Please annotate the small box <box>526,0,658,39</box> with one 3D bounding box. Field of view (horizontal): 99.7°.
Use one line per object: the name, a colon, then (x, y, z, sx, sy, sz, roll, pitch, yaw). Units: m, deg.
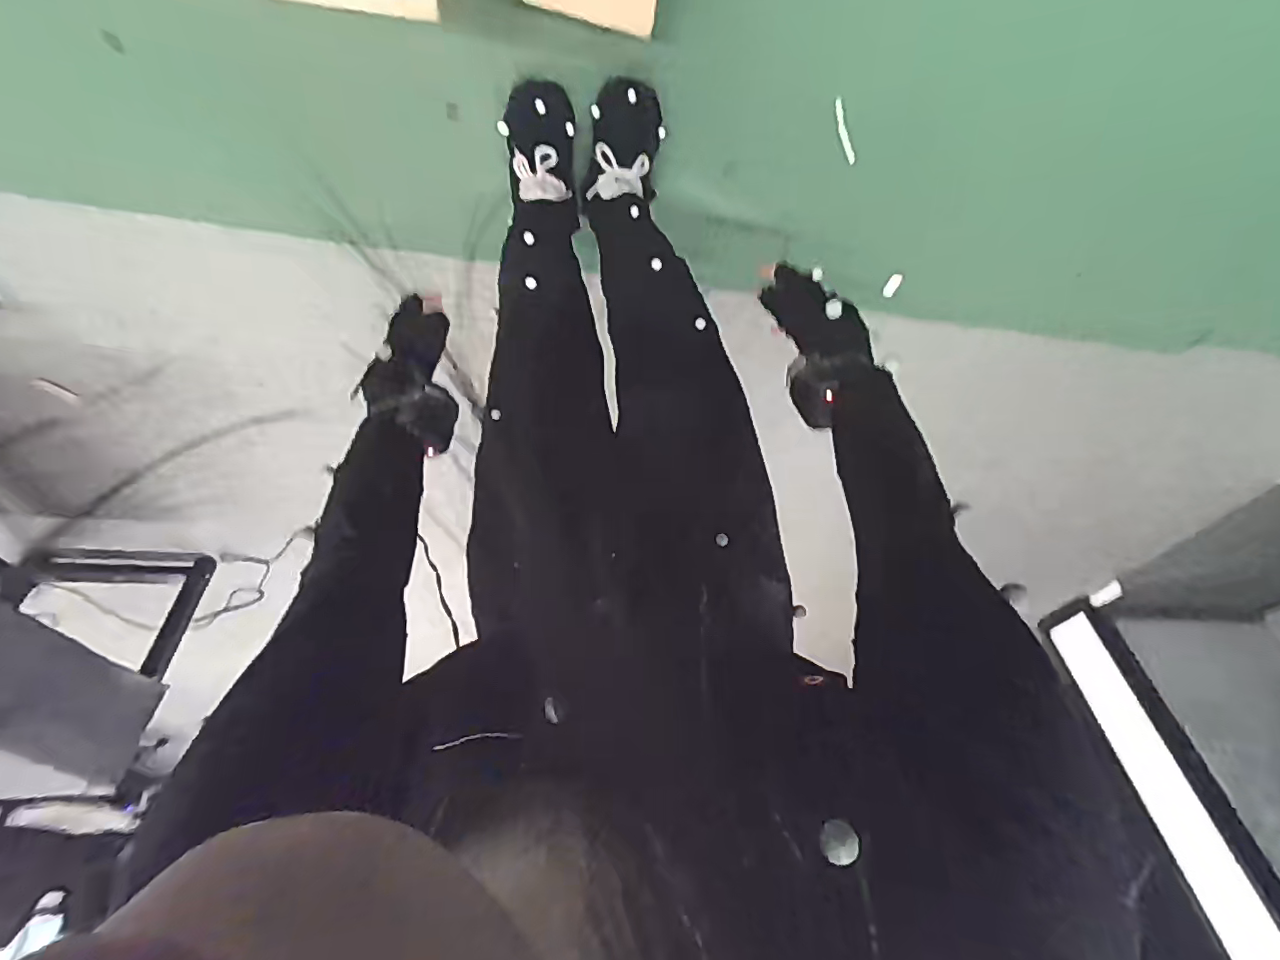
small box: (-0.055, -0.724, 0.710, 0.179, 0.176, 0.168, 7, 139, -13)
